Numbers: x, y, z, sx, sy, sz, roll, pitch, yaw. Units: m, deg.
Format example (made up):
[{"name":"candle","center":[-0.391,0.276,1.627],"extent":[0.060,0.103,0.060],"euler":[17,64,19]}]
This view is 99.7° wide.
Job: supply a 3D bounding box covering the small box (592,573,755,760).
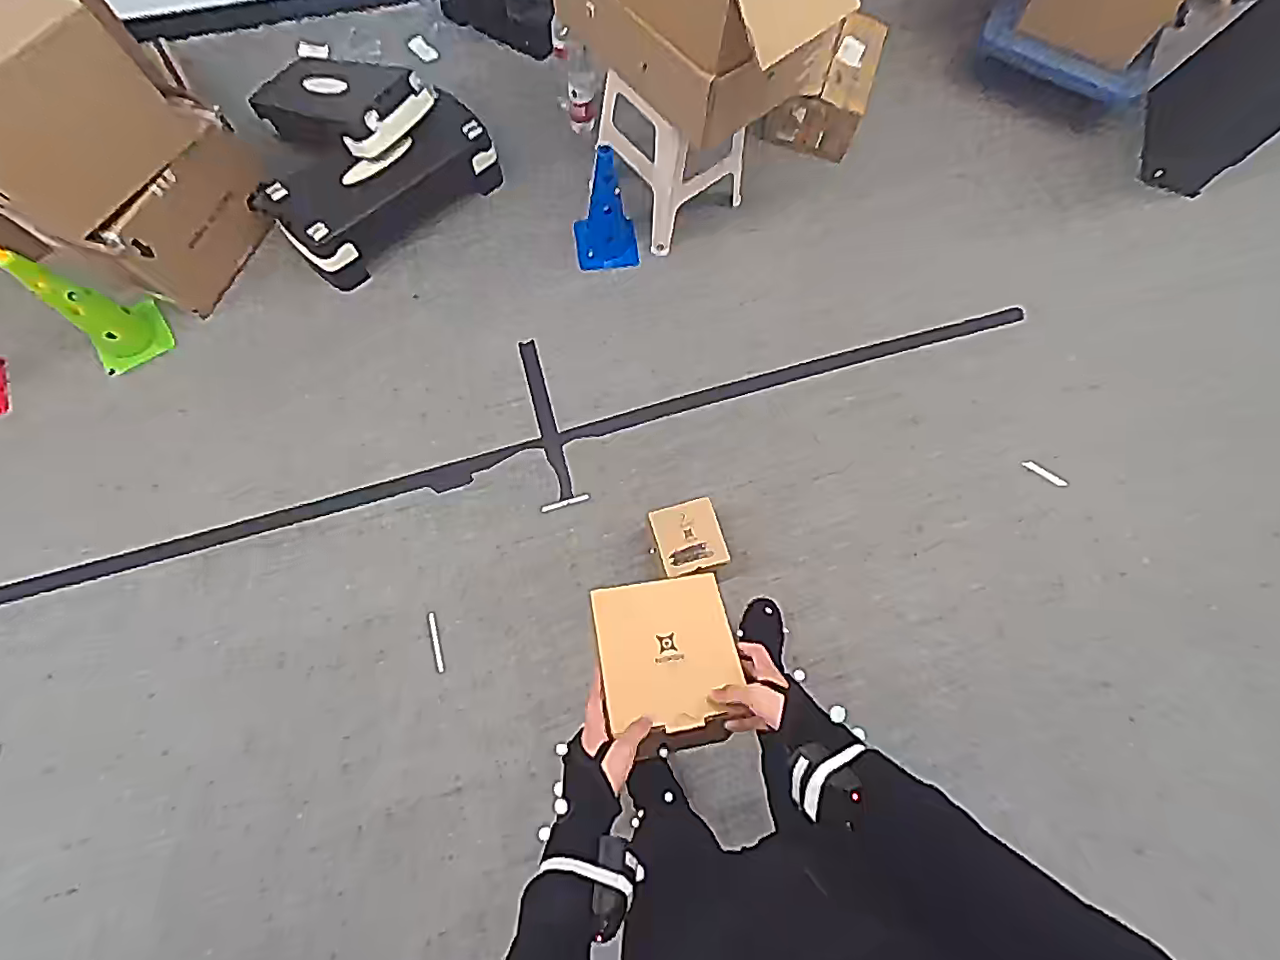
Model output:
[{"name":"small box","center":[0.029,0.247,0.712],"extent":[0.168,0.176,0.179],"euler":[-7,55,-10]}]
